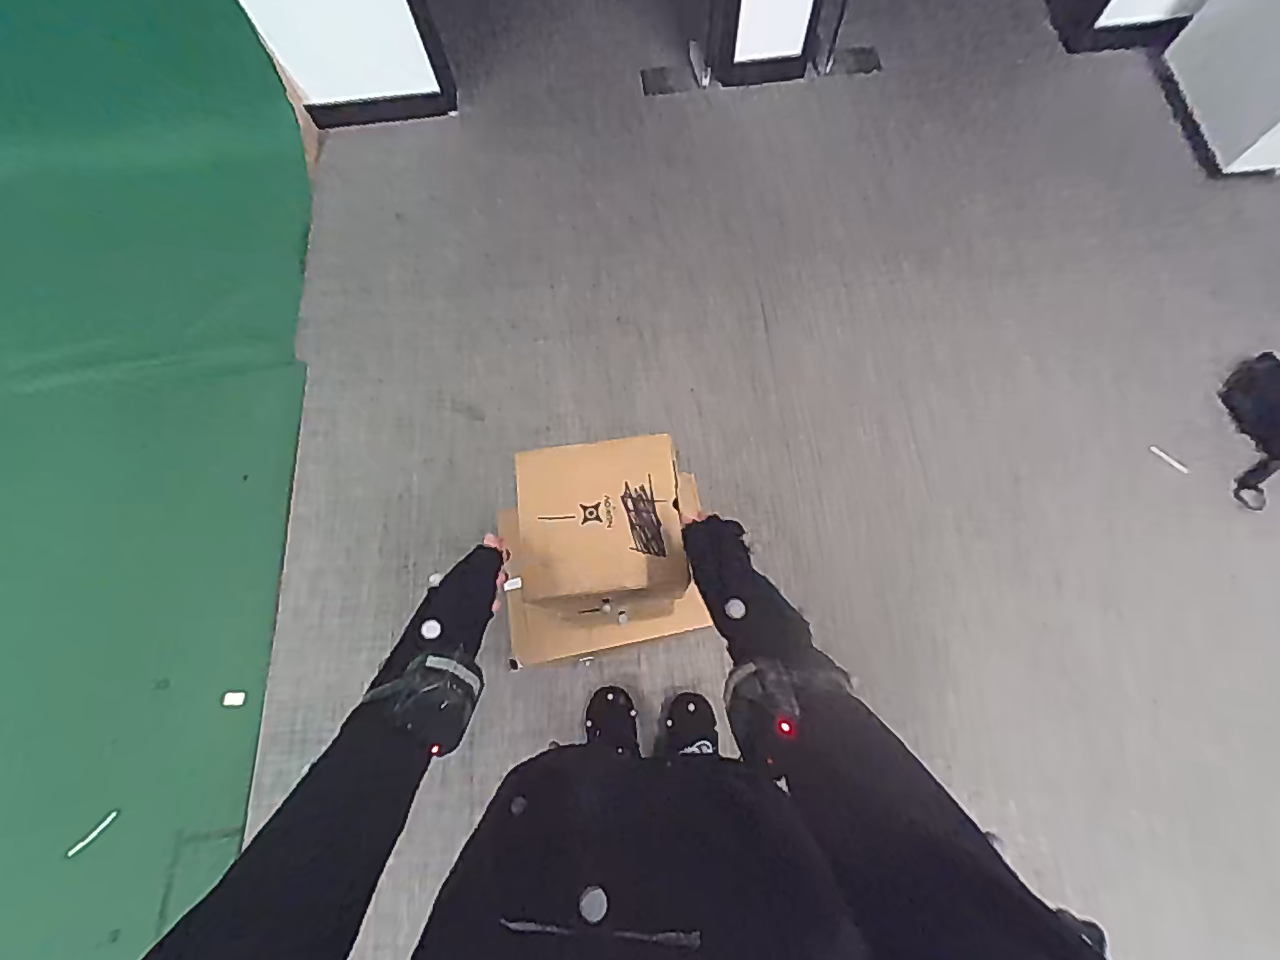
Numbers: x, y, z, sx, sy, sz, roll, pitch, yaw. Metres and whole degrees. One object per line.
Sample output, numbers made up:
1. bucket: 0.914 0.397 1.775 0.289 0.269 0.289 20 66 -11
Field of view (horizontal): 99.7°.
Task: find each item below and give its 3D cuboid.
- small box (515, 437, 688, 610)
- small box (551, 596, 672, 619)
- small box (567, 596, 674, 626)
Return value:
1. small box: -0.042 0.061 0.651 0.179 0.176 0.168 -7 72 1
2. small box: -0.044 0.109 0.809 0.168 0.176 0.179 -9 73 -1
3. small box: -0.040 0.164 0.963 0.179 0.176 0.168 -8 73 -2
